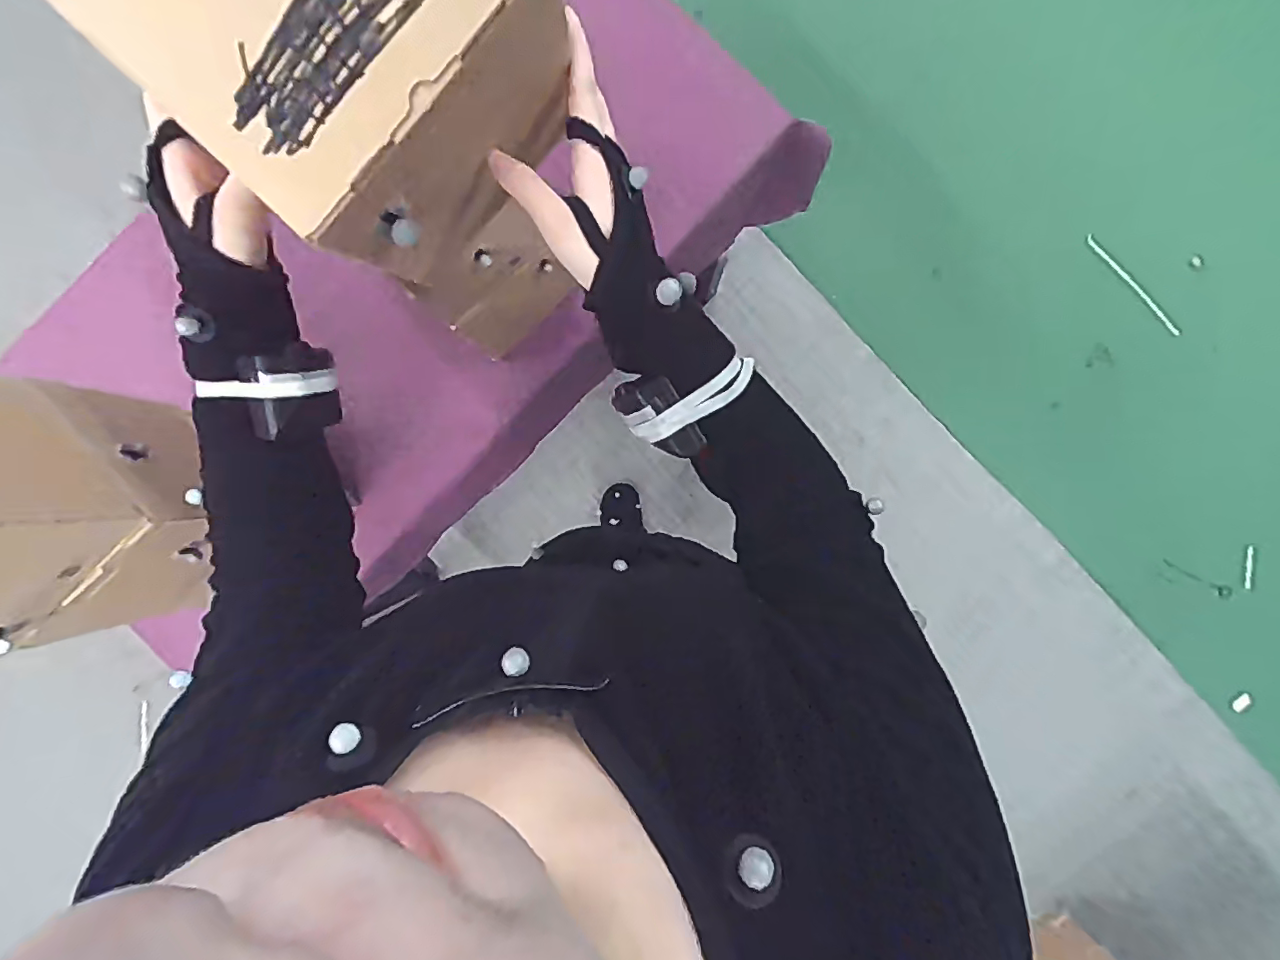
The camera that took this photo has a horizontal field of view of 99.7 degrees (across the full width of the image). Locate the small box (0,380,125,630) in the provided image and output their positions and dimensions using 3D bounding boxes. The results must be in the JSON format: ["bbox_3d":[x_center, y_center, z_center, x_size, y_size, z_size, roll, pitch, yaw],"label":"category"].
[{"bbox_3d":[-0.541,0.021,0.379,0.179,0.176,0.168,44,89,2],"label":"small box"}]

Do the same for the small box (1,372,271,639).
[{"bbox_3d":[-0.531,0.022,0.543,0.168,0.176,0.179,-42,89,0],"label":"small box"}]

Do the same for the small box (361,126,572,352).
[{"bbox_3d":[-0.208,-0.294,0.706,0.179,0.176,0.168,-43,89,0],"label":"small box"}]

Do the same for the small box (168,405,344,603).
[{"bbox_3d":[-0.527,0.028,0.707,0.179,0.176,0.168,-44,89,0],"label":"small box"}]
